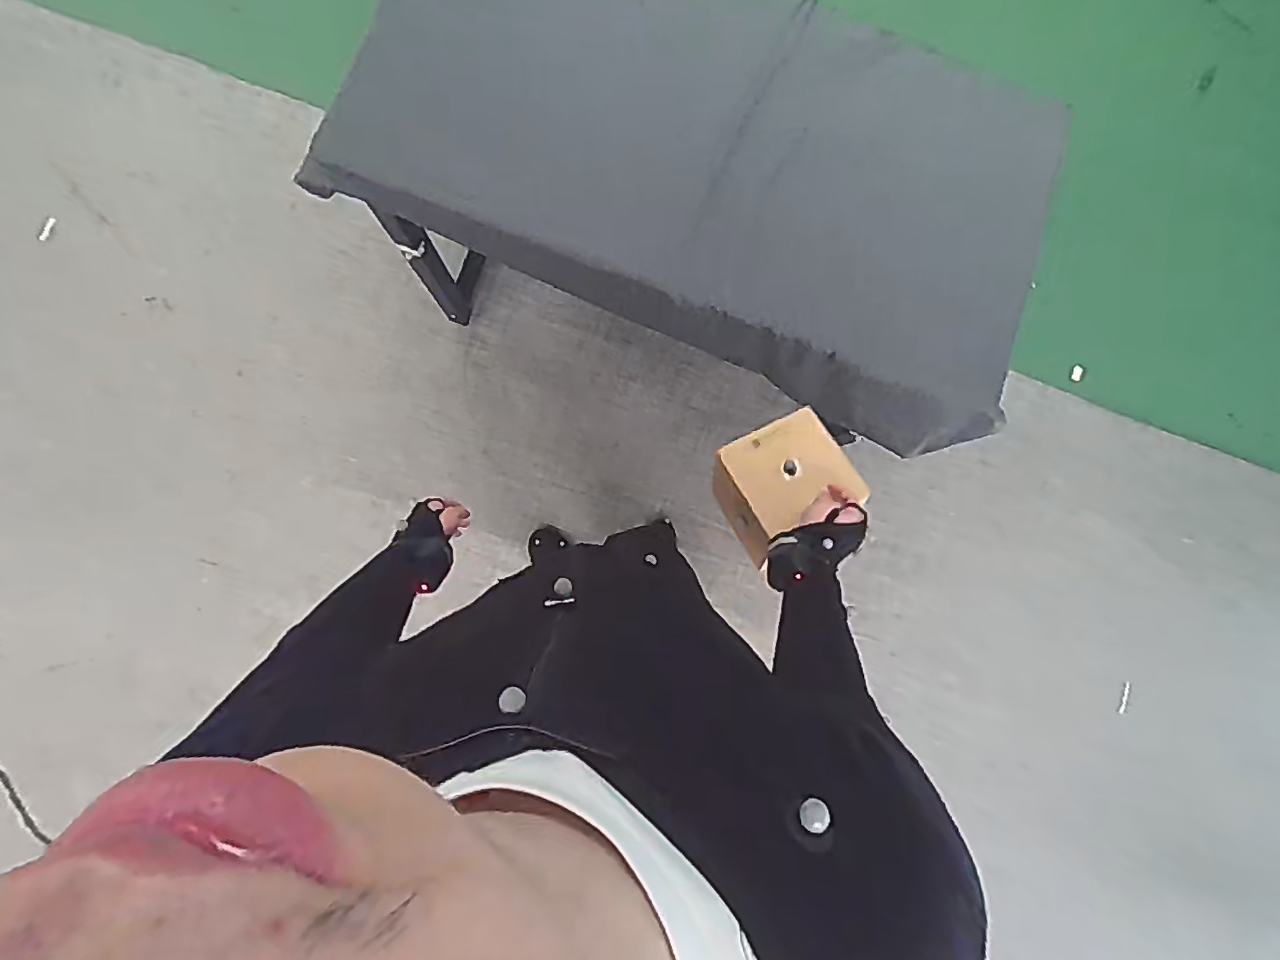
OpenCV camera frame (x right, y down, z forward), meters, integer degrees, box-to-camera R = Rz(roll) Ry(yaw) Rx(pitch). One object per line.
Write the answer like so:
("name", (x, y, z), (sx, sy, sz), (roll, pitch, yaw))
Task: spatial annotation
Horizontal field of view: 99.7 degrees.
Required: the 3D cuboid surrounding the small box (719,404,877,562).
("small box", (0.237, 0.003, 0.863), (0.168, 0.179, 0.176), (-28, 68, -3))
